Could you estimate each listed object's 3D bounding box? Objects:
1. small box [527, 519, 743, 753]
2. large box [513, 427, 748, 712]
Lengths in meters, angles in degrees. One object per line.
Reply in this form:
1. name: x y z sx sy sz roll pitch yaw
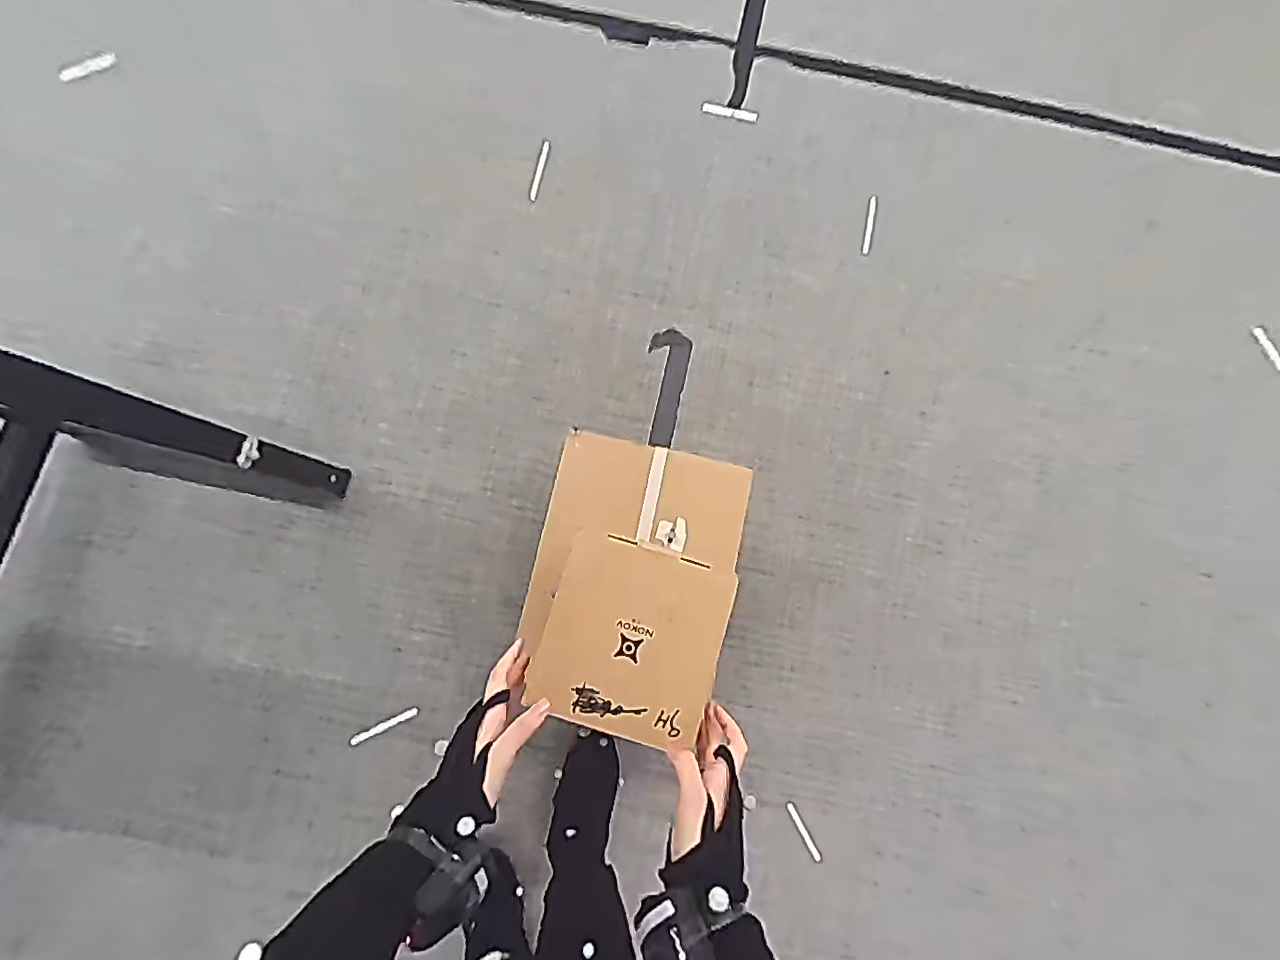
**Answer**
1. small box: -0.006 0.157 0.586 0.168 0.176 0.179 18 79 2
2. large box: -0.015 0.162 0.999 0.320 0.320 0.408 13 79 -2
